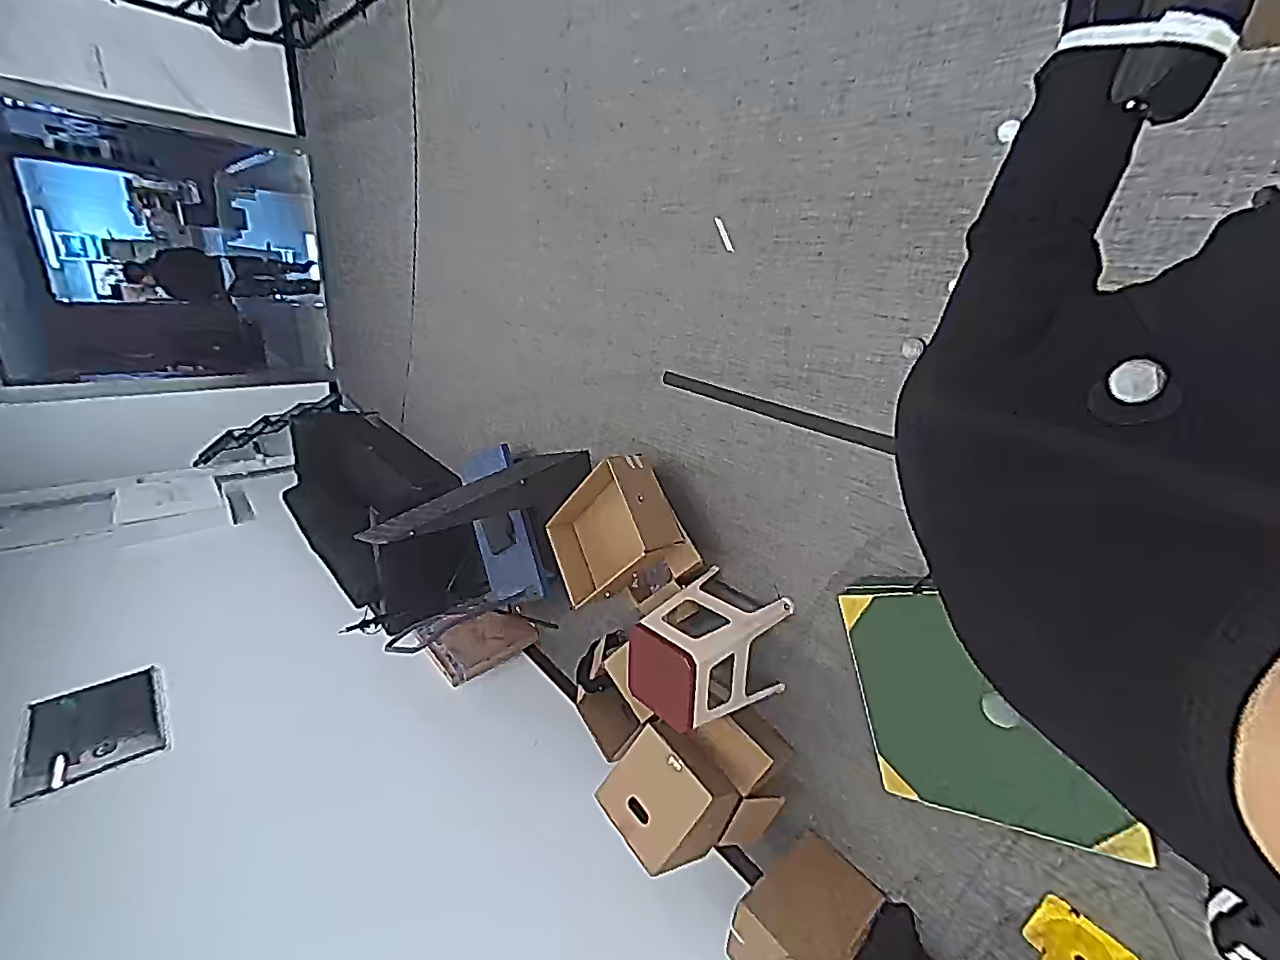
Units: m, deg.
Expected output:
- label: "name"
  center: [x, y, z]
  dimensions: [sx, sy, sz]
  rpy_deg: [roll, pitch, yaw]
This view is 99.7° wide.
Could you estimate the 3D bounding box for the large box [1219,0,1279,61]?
- label: "large box"
  center: [0.592, -0.433, 0.234]
  dimensions: [0.408, 0.320, 0.320]
  rpy_deg: [25, 126, 41]
